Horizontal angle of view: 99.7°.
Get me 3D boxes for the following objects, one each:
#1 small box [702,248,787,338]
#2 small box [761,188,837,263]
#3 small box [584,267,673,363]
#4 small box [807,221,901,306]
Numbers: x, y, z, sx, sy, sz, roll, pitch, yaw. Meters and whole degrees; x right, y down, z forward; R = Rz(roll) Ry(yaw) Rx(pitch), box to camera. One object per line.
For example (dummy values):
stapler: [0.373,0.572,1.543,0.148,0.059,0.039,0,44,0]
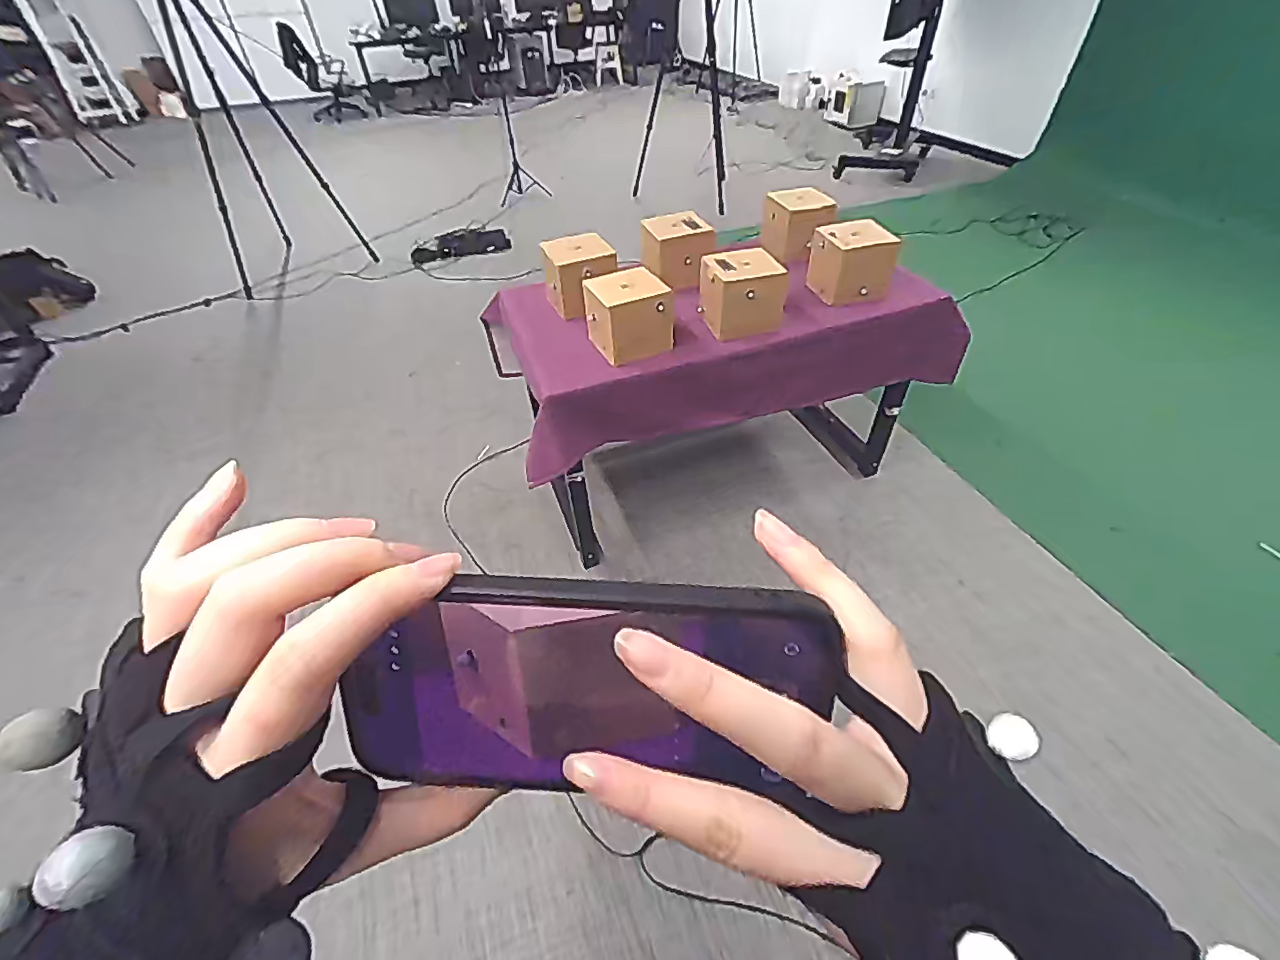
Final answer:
small box: [0.271,-0.498,1.448,0.179,0.176,0.168,-11,46,-9]
small box: [0.511,-0.831,1.766,0.168,0.176,0.179,-14,47,-10]
small box: [-0.027,-0.421,1.389,0.179,0.176,0.168,-20,47,-18]
small box: [0.605,-0.620,1.553,0.179,0.176,0.168,-11,45,-8]
